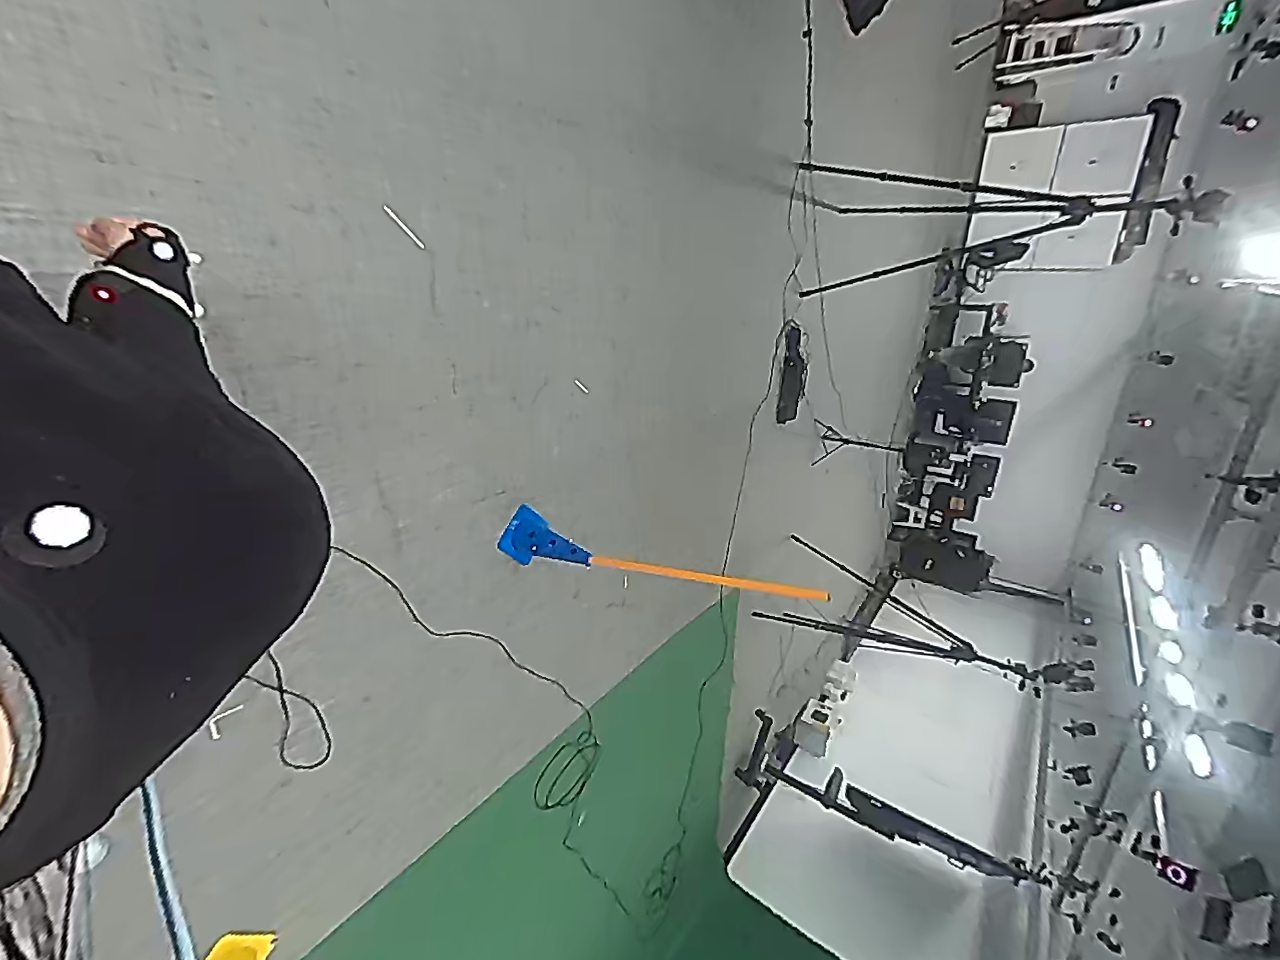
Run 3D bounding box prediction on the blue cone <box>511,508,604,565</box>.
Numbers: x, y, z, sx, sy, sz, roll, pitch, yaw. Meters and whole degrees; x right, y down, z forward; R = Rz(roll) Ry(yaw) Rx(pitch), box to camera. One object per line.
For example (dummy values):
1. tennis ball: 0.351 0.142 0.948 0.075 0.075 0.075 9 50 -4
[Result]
1. blue cone: -0.292 0.251 2.042 0.192 0.380 0.193 48 62 -49
